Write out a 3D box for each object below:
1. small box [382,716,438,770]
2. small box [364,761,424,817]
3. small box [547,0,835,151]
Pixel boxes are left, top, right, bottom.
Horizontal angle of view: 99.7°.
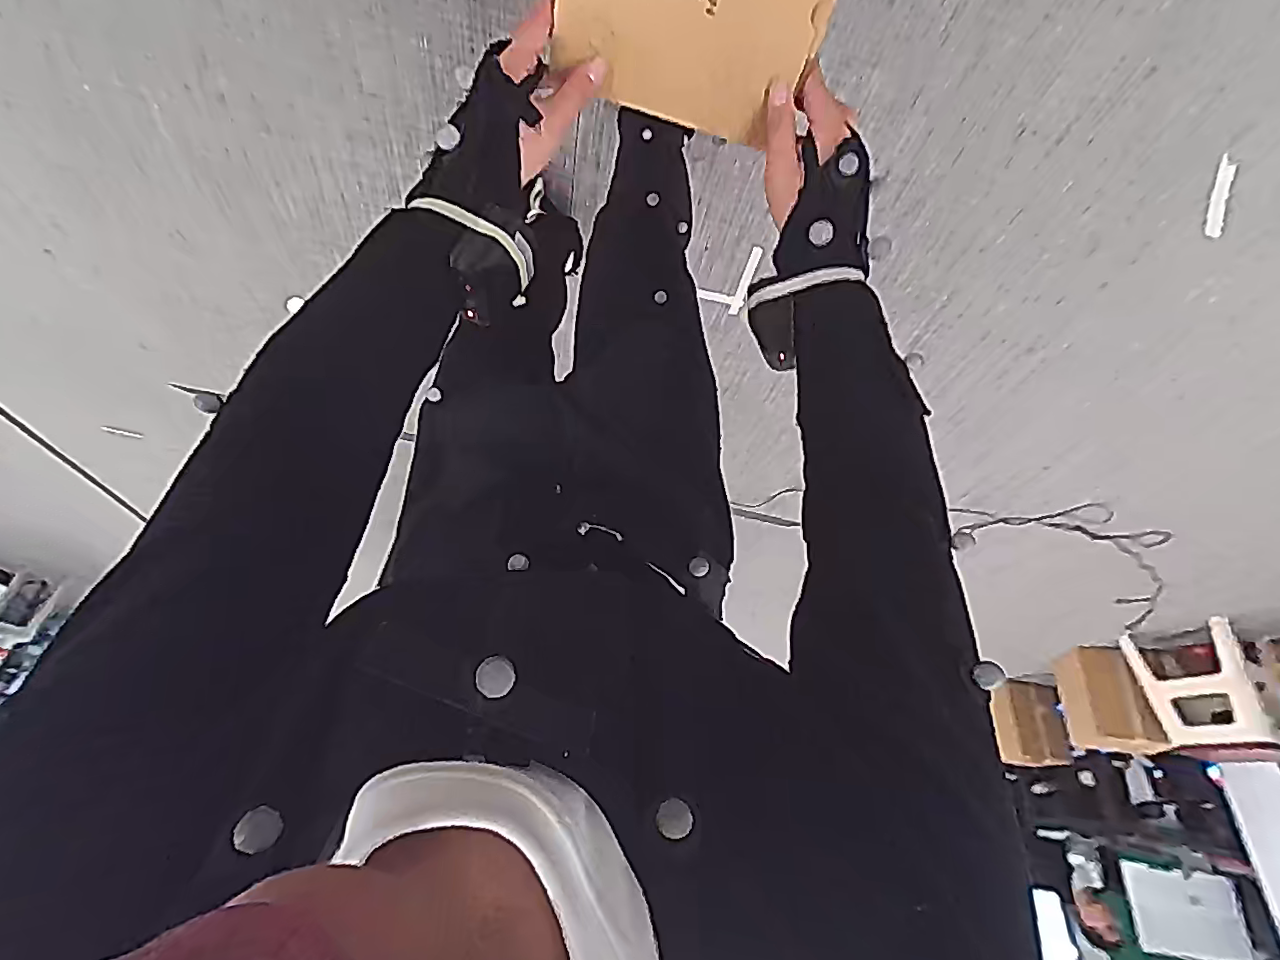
[{"bbox_3d":[-0.946,1.090,2.237,0.168,0.176,0.179,14,146,-10],"label":"small box"},{"bbox_3d":[-0.968,1.226,2.147,0.168,0.176,0.179,13,146,-10],"label":"small box"},{"bbox_3d":[0.045,-0.375,0.388,0.179,0.176,0.168,13,139,-7],"label":"small box"}]
